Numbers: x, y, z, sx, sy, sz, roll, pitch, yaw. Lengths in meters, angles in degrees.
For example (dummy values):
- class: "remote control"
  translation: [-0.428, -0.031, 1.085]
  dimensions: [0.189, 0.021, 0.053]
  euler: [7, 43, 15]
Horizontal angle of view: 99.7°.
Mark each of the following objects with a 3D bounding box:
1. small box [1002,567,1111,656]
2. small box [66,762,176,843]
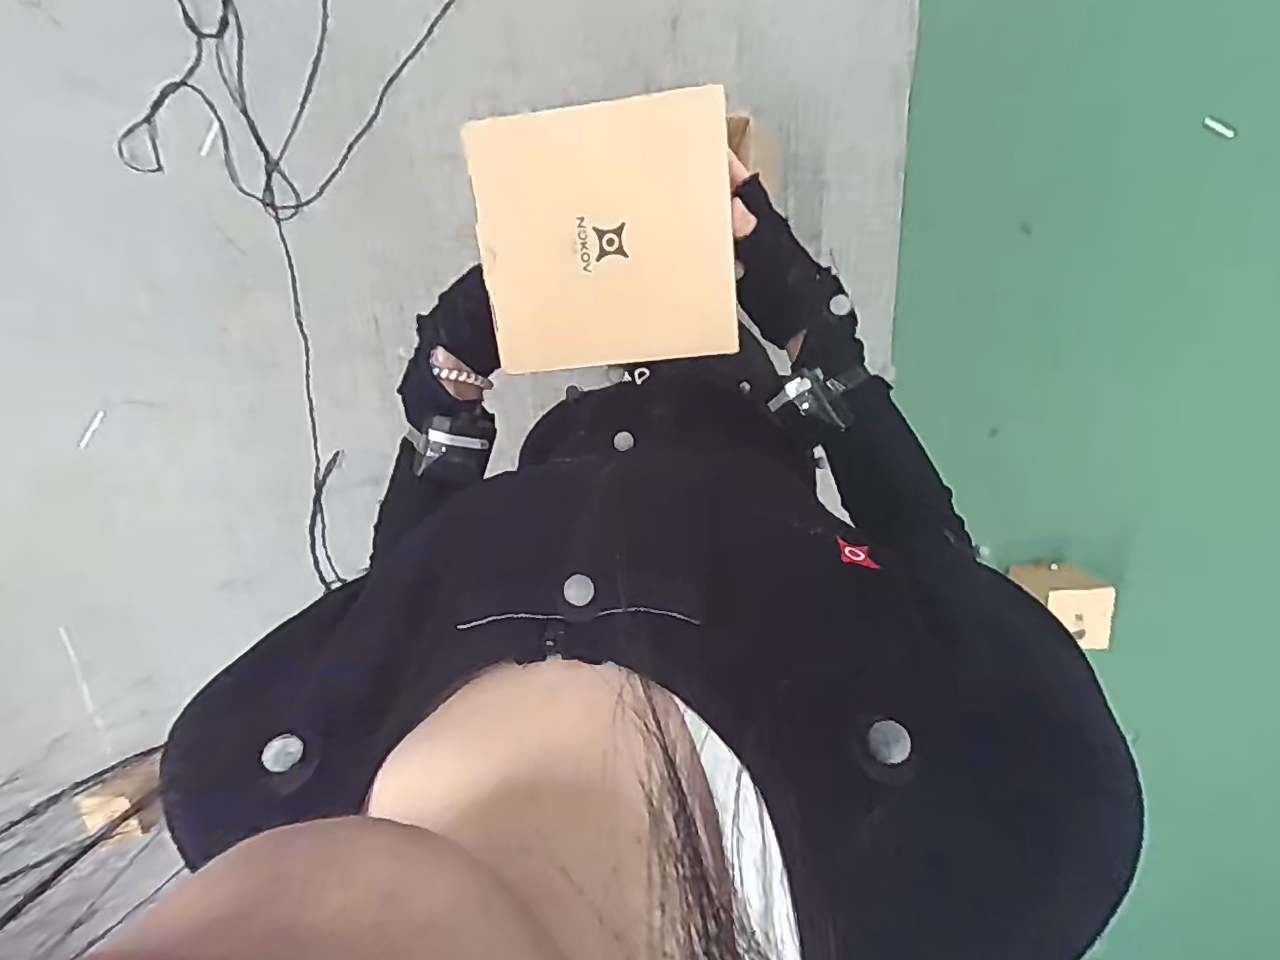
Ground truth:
- class: "small box"
  translation: [1.120, 0.353, 1.470]
  dimensions: [0.168, 0.176, 0.179]
  euler: [-4, 104, 3]
- class: "small box"
  translation: [-1.693, 1.053, 1.774]
  dimensions: [0.179, 0.176, 0.168]
  euler: [-3, 106, 3]
